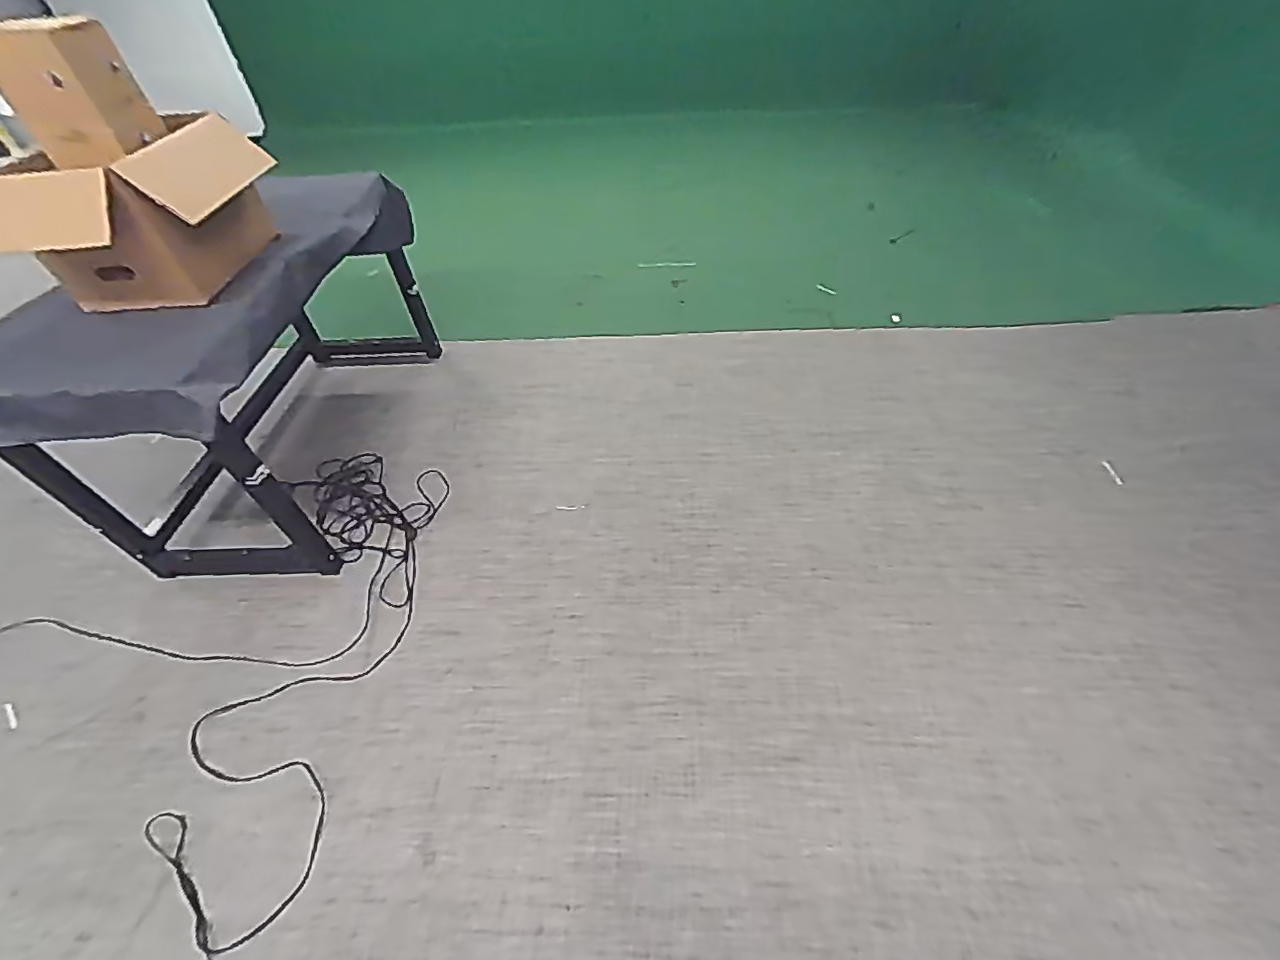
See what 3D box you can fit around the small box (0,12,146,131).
[{"bbox_3d":[-1.211,-0.853,1.131,0.179,0.176,0.168,-5,47,0],"label":"small box"}]
